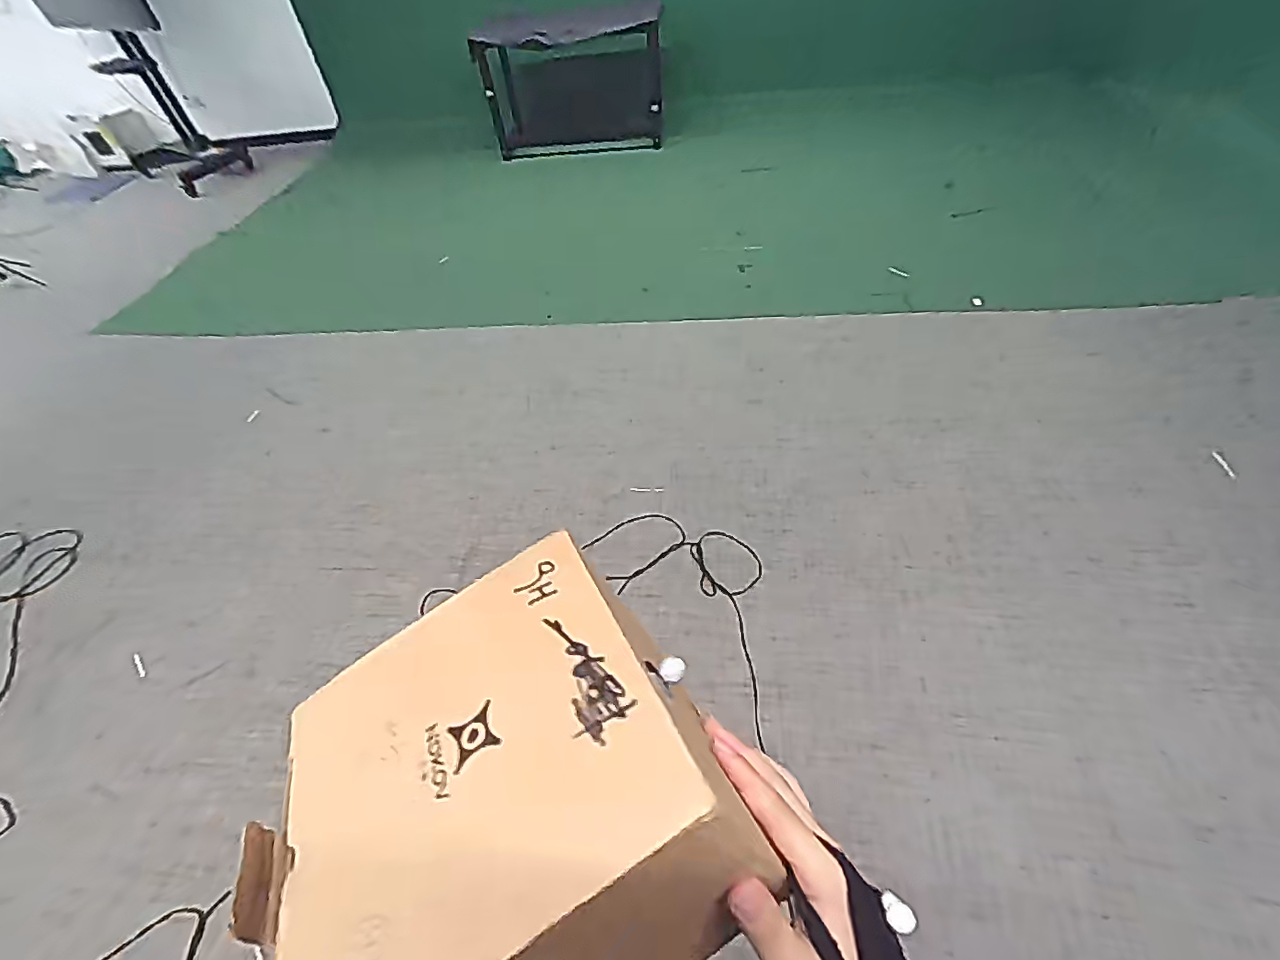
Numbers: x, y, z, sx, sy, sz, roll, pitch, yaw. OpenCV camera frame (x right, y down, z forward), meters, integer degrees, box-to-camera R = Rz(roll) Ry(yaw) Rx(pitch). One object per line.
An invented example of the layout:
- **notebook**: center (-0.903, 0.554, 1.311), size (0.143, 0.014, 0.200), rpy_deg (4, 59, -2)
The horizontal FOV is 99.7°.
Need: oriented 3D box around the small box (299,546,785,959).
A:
- **small box**: center (-0.047, 0.178, 0.296), size (0.179, 0.176, 0.168), rpy_deg (-34, 42, -6)
